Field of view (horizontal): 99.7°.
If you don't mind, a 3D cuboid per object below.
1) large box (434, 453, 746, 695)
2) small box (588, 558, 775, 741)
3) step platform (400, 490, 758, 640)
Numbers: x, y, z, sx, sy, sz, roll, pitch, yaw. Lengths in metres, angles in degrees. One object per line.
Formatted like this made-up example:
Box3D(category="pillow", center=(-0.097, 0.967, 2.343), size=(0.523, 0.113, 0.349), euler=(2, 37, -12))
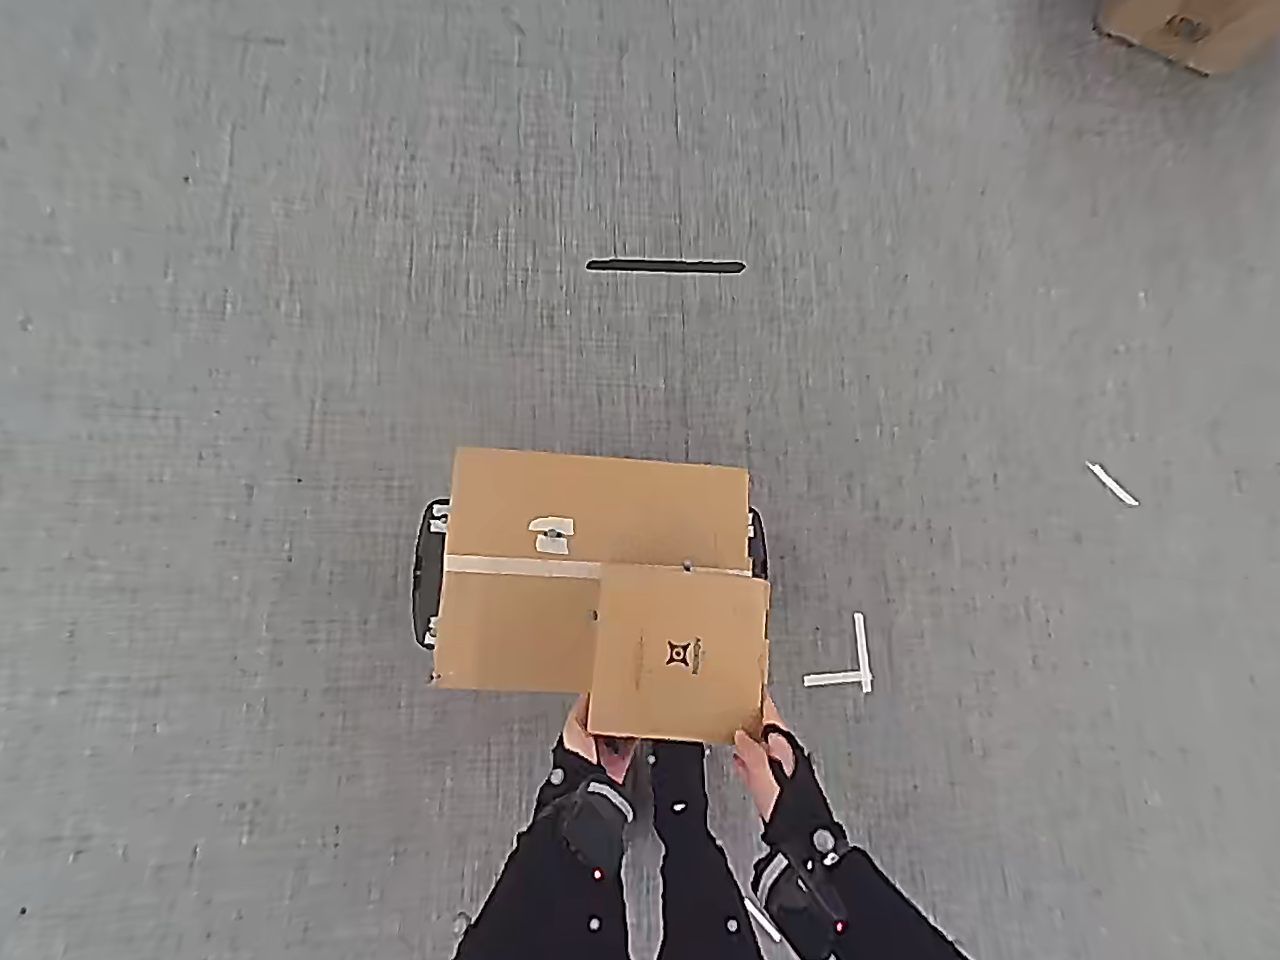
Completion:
Box3D(category="large box", center=(-0.065, 0.147, 0.859), size=(0.408, 0.320, 0.320), euler=(4, 79, -4))
Box3D(category="small box", center=(0.037, 0.179, 0.615), size=(0.179, 0.176, 0.168), euler=(6, 81, -4))
Box3D(category="step platform", center=(-0.109, 0.197, 1.090), size=(0.684, 0.204, 0.286), euler=(6, 80, -4))
